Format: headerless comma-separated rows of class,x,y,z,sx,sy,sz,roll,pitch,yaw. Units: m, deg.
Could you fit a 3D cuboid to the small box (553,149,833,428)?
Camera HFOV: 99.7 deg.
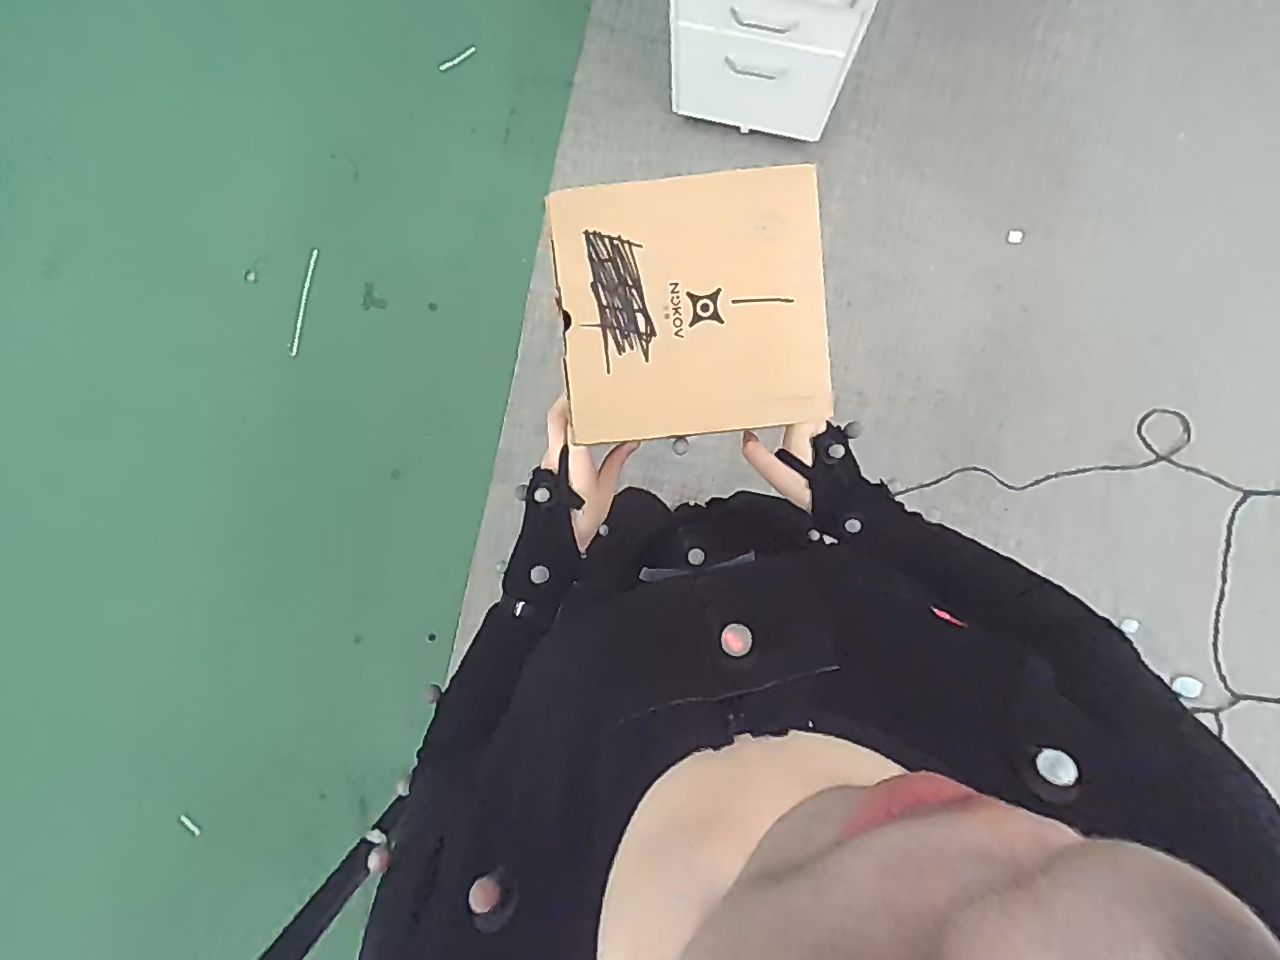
small box,0.035,-0.131,0.432,0.179,0.176,0.168,-5,94,-1
